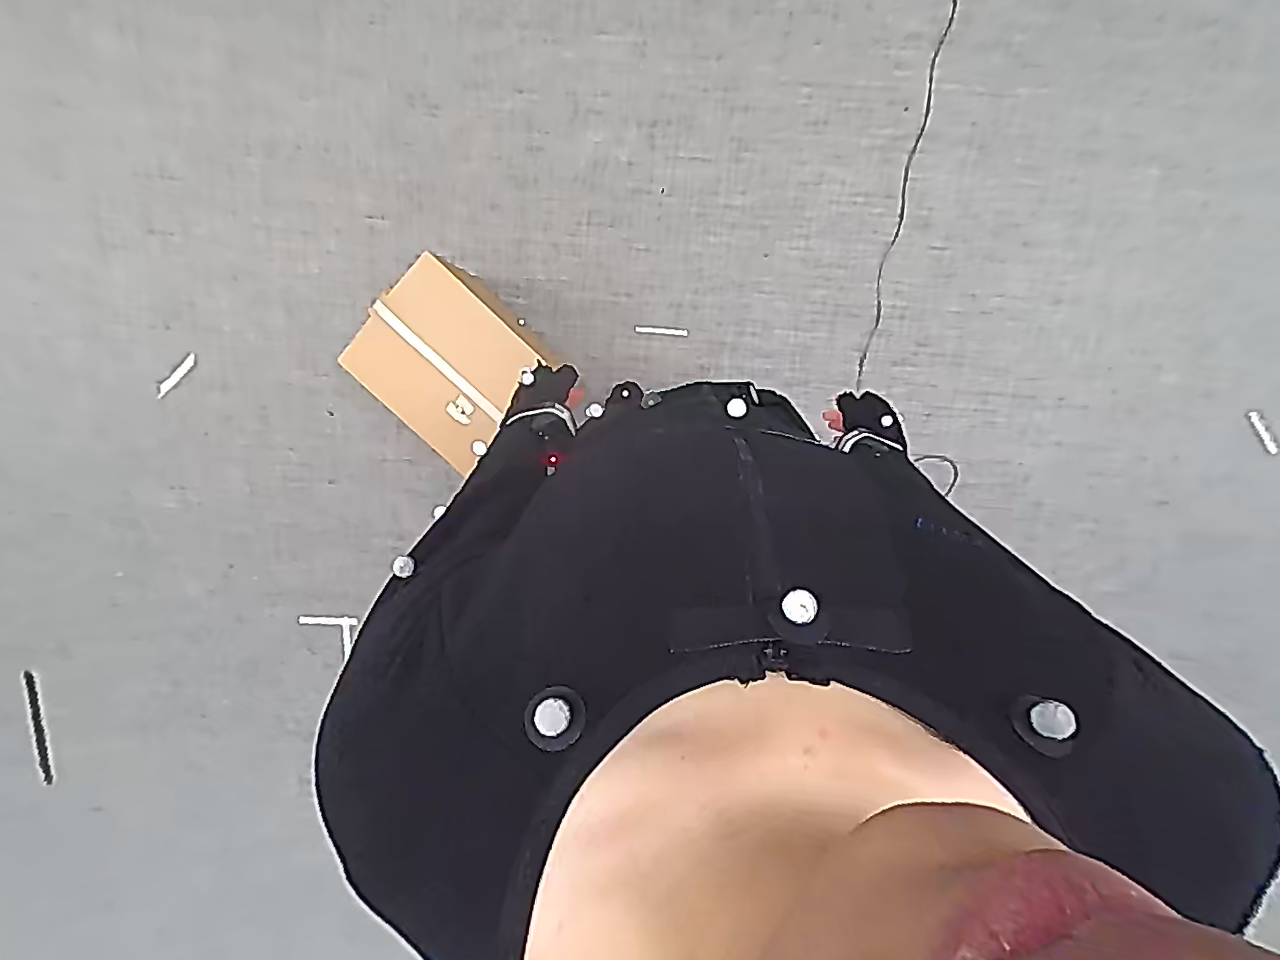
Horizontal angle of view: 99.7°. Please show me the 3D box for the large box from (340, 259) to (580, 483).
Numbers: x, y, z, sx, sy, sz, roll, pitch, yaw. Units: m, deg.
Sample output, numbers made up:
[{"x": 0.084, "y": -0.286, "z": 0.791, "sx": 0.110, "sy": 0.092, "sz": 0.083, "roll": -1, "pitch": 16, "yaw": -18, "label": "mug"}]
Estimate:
[{"x": -0.407, "y": -0.256, "z": 1.320, "sx": 0.408, "sy": 0.320, "sz": 0.320, "roll": 42, "pitch": 99, "yaw": -7, "label": "large box"}]
